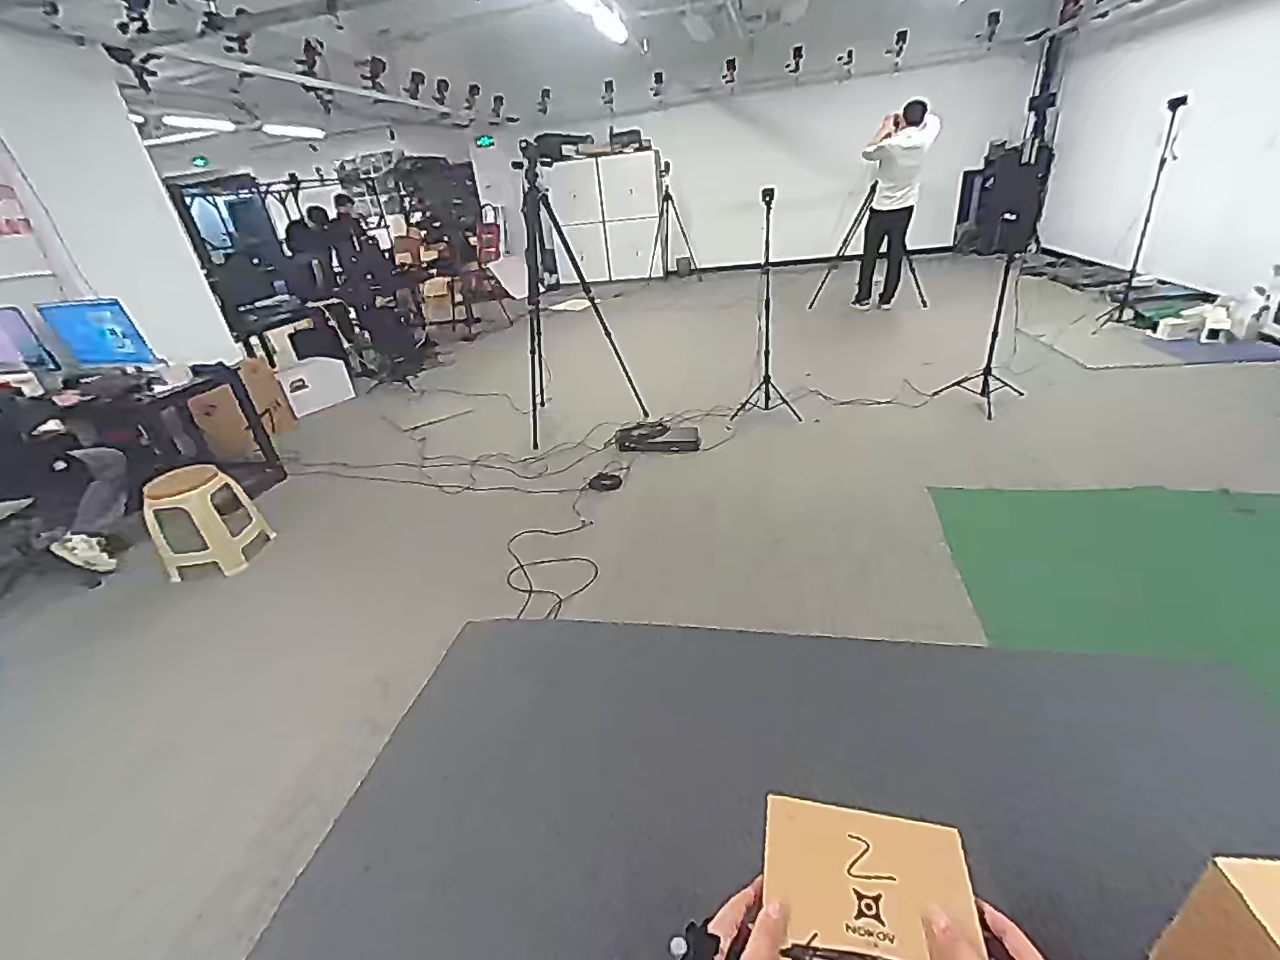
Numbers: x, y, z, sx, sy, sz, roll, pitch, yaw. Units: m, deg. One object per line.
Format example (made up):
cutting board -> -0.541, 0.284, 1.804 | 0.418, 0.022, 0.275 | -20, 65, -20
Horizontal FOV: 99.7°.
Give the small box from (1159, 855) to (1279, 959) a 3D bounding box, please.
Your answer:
small box -> 0.543, 0.414, 0.390 | 0.168, 0.176, 0.179 | -3, 29, 9
